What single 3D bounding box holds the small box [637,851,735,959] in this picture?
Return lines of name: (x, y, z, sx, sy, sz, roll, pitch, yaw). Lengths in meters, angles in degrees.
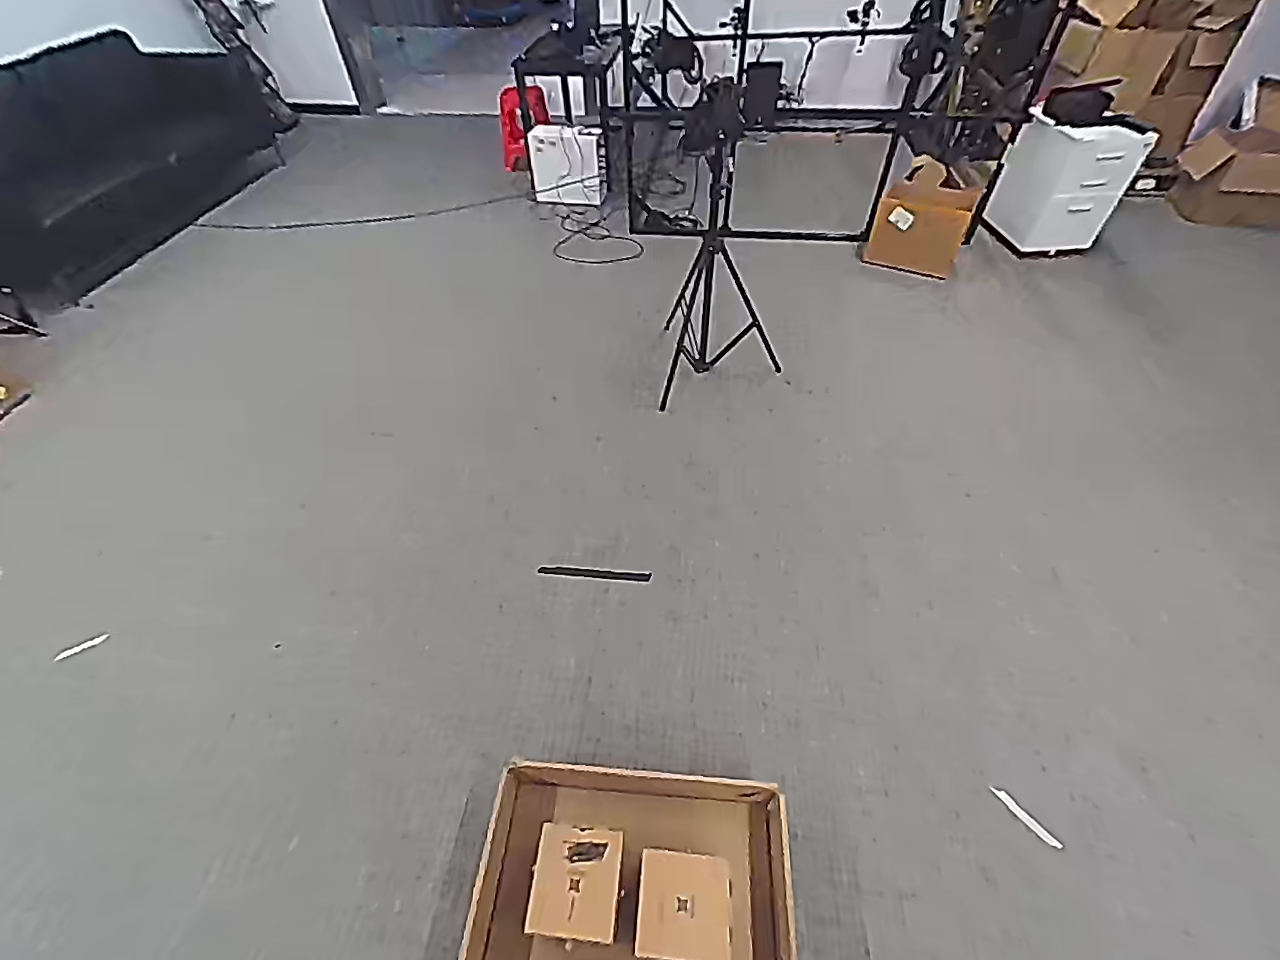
small box: (0.093, 0.856, 1.071, 0.179, 0.176, 0.168, 2, 47, 6)
